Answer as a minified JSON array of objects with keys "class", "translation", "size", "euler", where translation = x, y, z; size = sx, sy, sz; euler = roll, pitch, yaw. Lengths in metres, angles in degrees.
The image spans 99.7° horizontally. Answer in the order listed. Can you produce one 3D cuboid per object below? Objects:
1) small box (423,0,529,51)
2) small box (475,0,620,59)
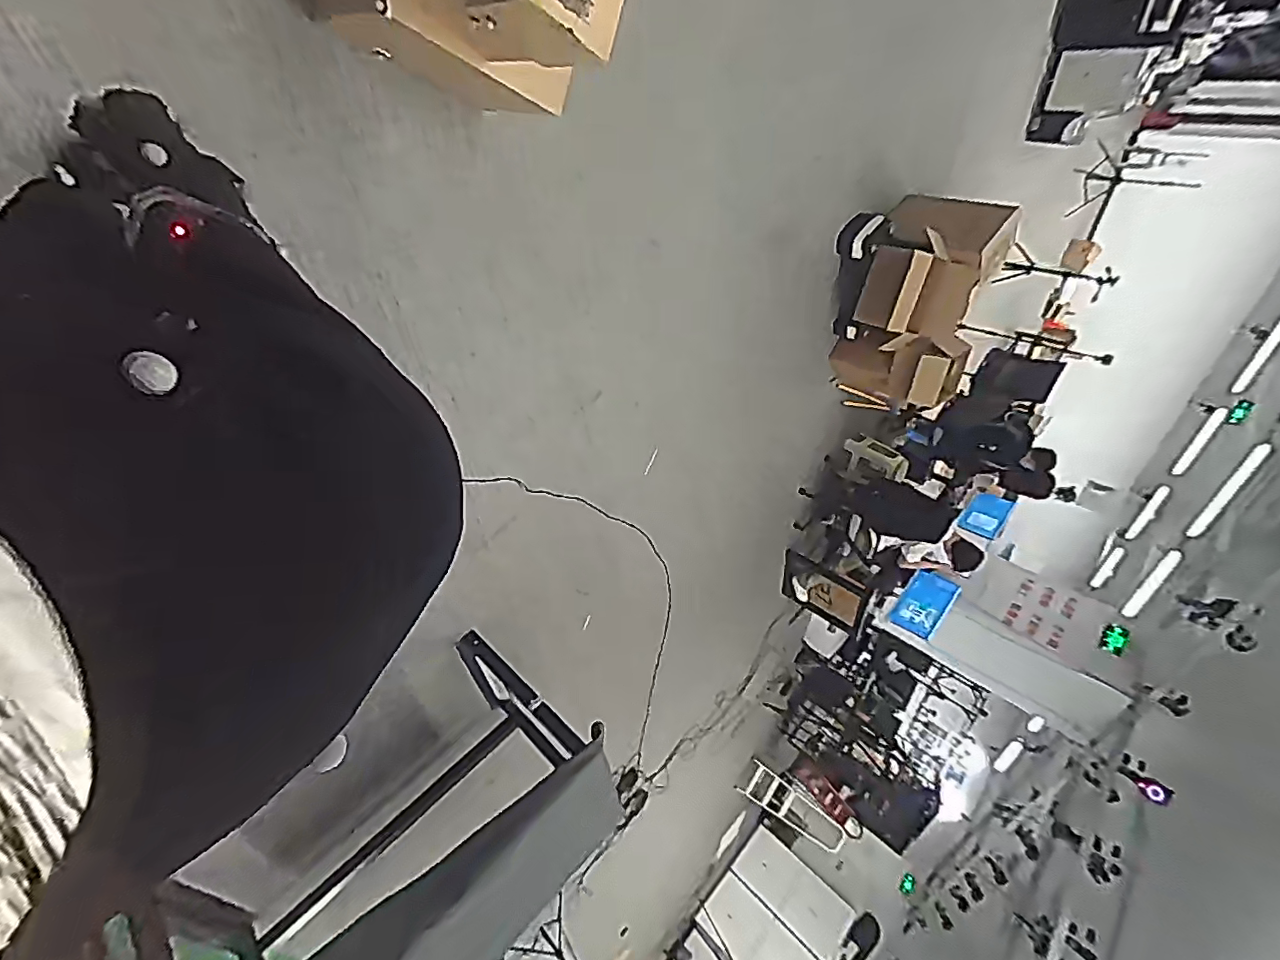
[{"class":"small box","translation":[-0.256,-0.868,0.919],"size":[0.179,0.176,0.168],"euler":[1,112,-53]},{"class":"small box","translation":[-0.141,-0.786,0.828],"size":[0.168,0.176,0.179],"euler":[-7,121,-50]}]
